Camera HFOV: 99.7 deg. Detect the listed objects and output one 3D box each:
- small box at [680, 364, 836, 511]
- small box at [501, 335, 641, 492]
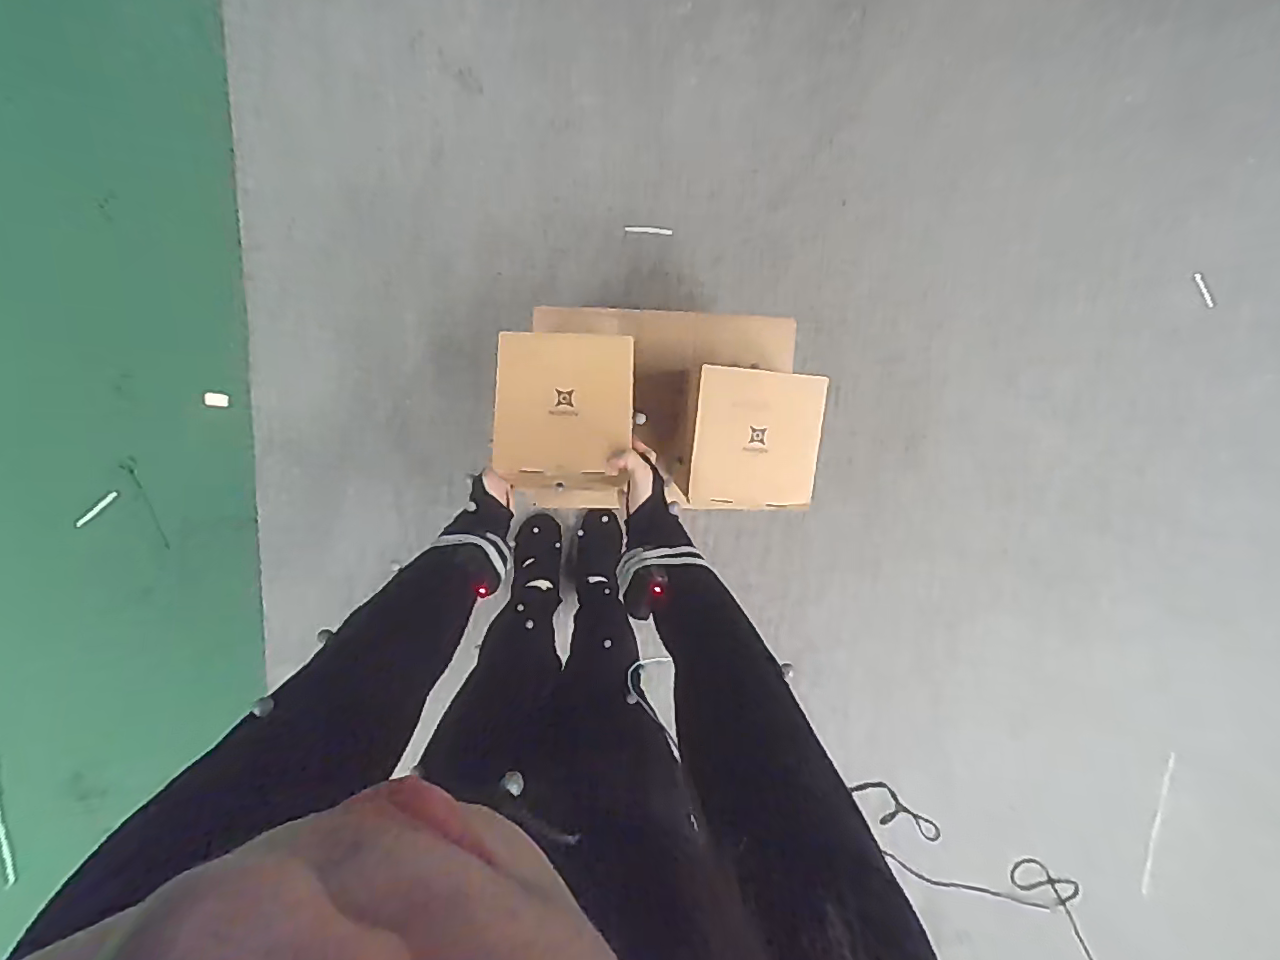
[{"bbox_3d":[0.153,-0.064,0.766,0.168,0.176,0.179,5,98,-5],"label":"small box"},{"bbox_3d":[-0.085,-0.080,0.727,0.168,0.176,0.179,0,84,-2],"label":"small box"}]
